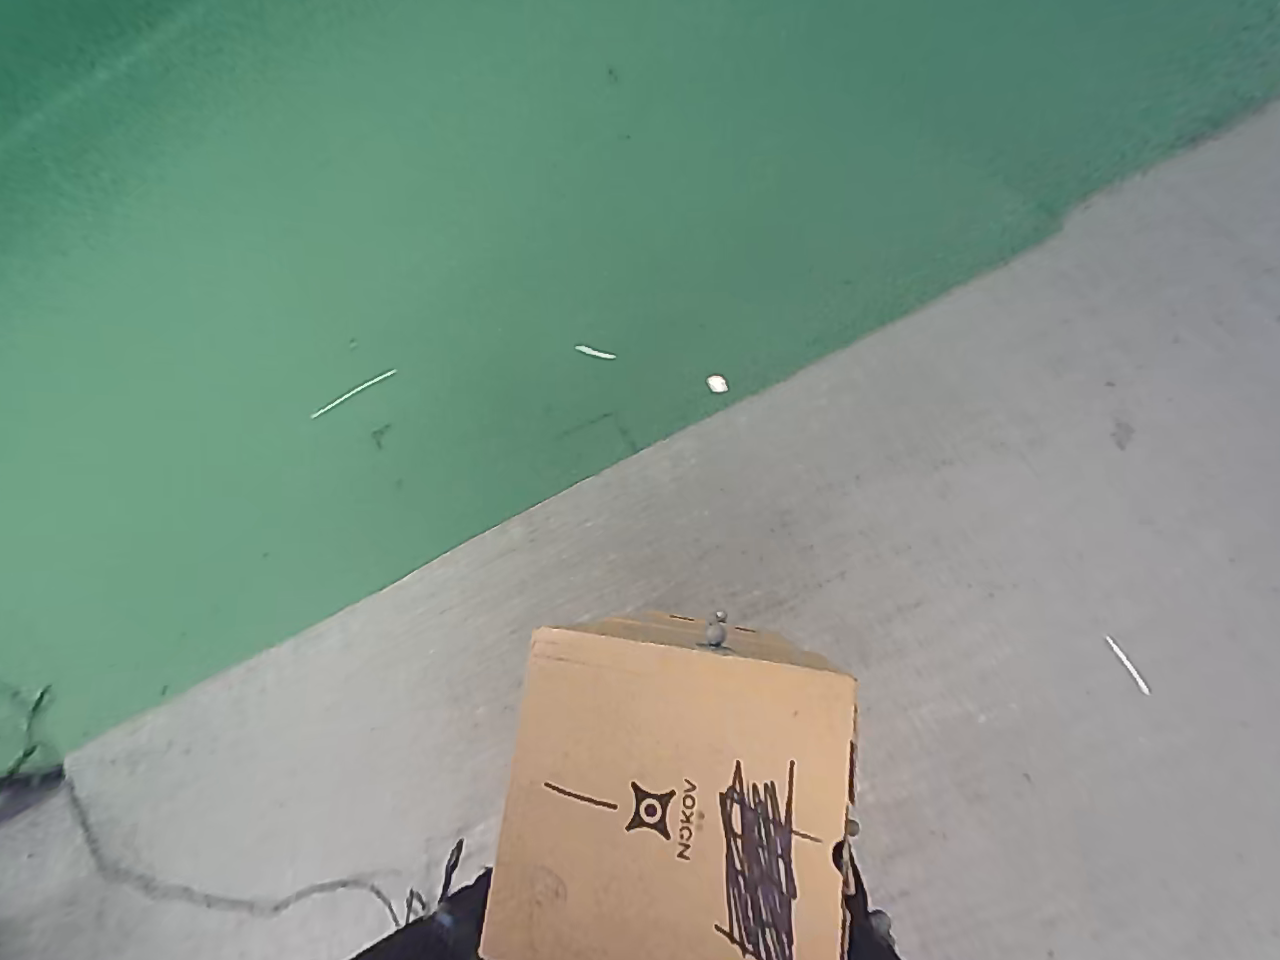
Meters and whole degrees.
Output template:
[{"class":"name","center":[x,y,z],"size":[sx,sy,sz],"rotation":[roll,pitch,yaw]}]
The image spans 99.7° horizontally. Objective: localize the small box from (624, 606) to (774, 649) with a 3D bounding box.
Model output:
[{"class":"small box","center":[0.061,0.254,0.645],"size":[0.168,0.176,0.179],"rotation":[9,78,12]}]

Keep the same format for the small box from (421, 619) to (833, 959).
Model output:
[{"class":"small box","center":[0.007,0.180,0.328],"size":[0.179,0.176,0.168],"rotation":[6,78,13]}]
